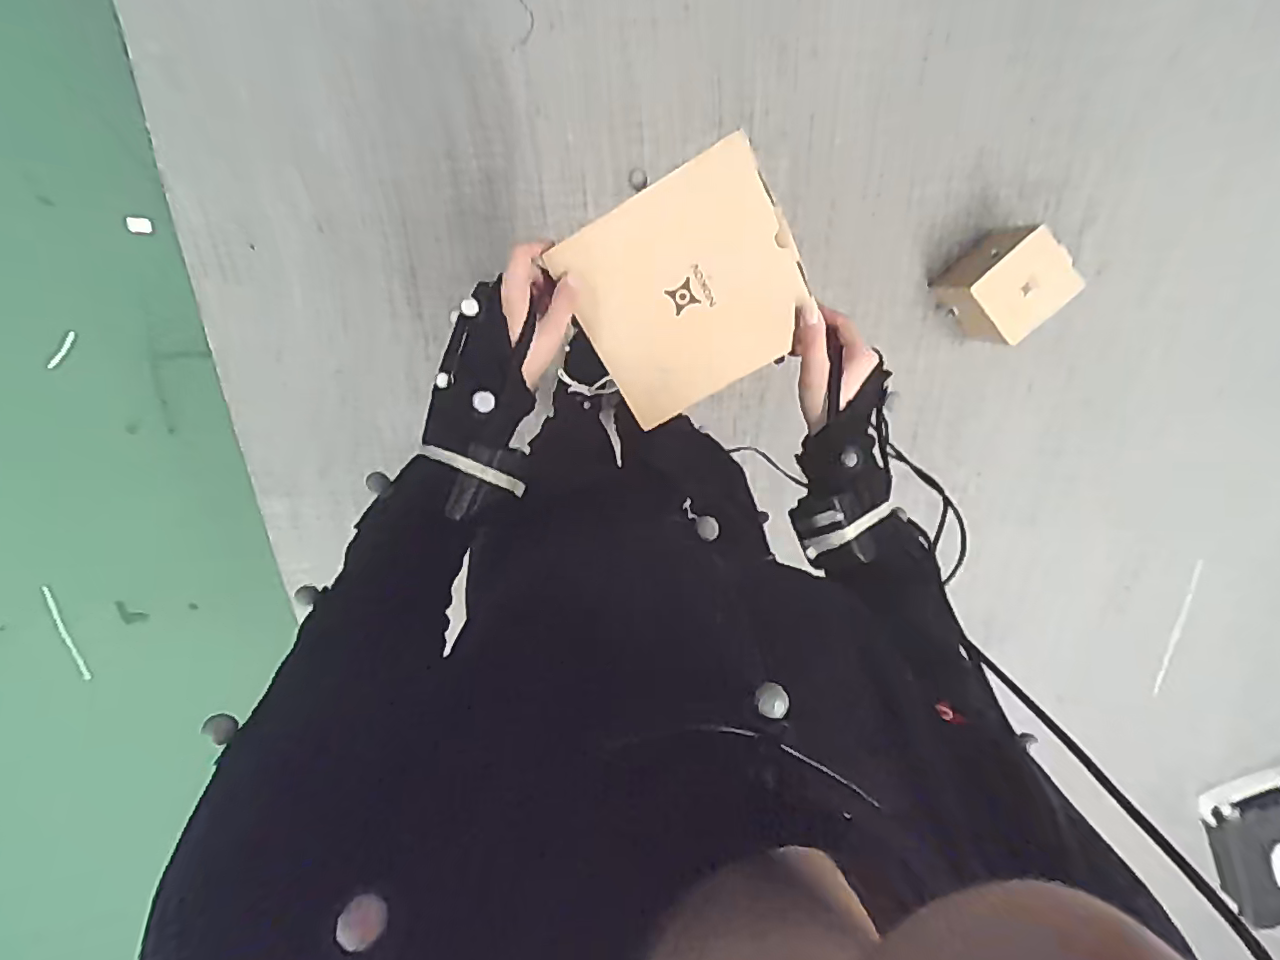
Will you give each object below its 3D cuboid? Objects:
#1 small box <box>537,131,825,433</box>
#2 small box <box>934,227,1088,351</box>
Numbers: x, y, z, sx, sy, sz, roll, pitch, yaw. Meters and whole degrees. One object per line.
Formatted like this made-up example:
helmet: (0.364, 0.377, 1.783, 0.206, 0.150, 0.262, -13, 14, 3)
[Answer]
small box: (0.034, -0.170, 0.493, 0.179, 0.176, 0.168, -29, 110, 9)
small box: (0.773, -0.403, 1.147, 0.168, 0.176, 0.179, 43, 105, -13)
